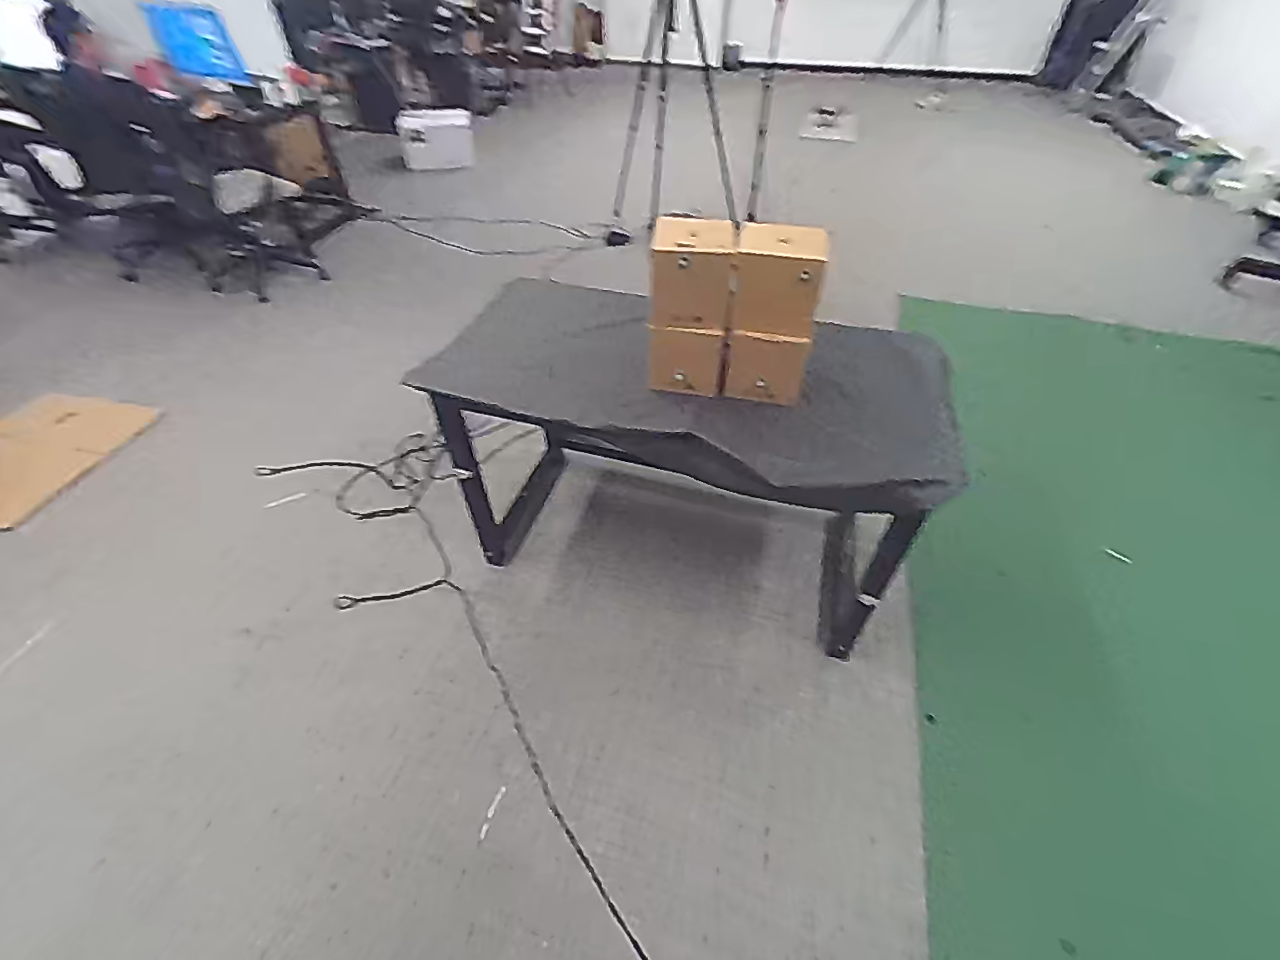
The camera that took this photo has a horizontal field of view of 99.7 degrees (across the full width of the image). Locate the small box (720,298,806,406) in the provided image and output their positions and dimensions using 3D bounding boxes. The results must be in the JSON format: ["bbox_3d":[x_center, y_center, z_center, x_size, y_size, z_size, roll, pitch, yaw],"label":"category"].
[{"bbox_3d":[0.283,-0.298,1.257,0.168,0.176,0.179,9,46,10],"label":"small box"}]
